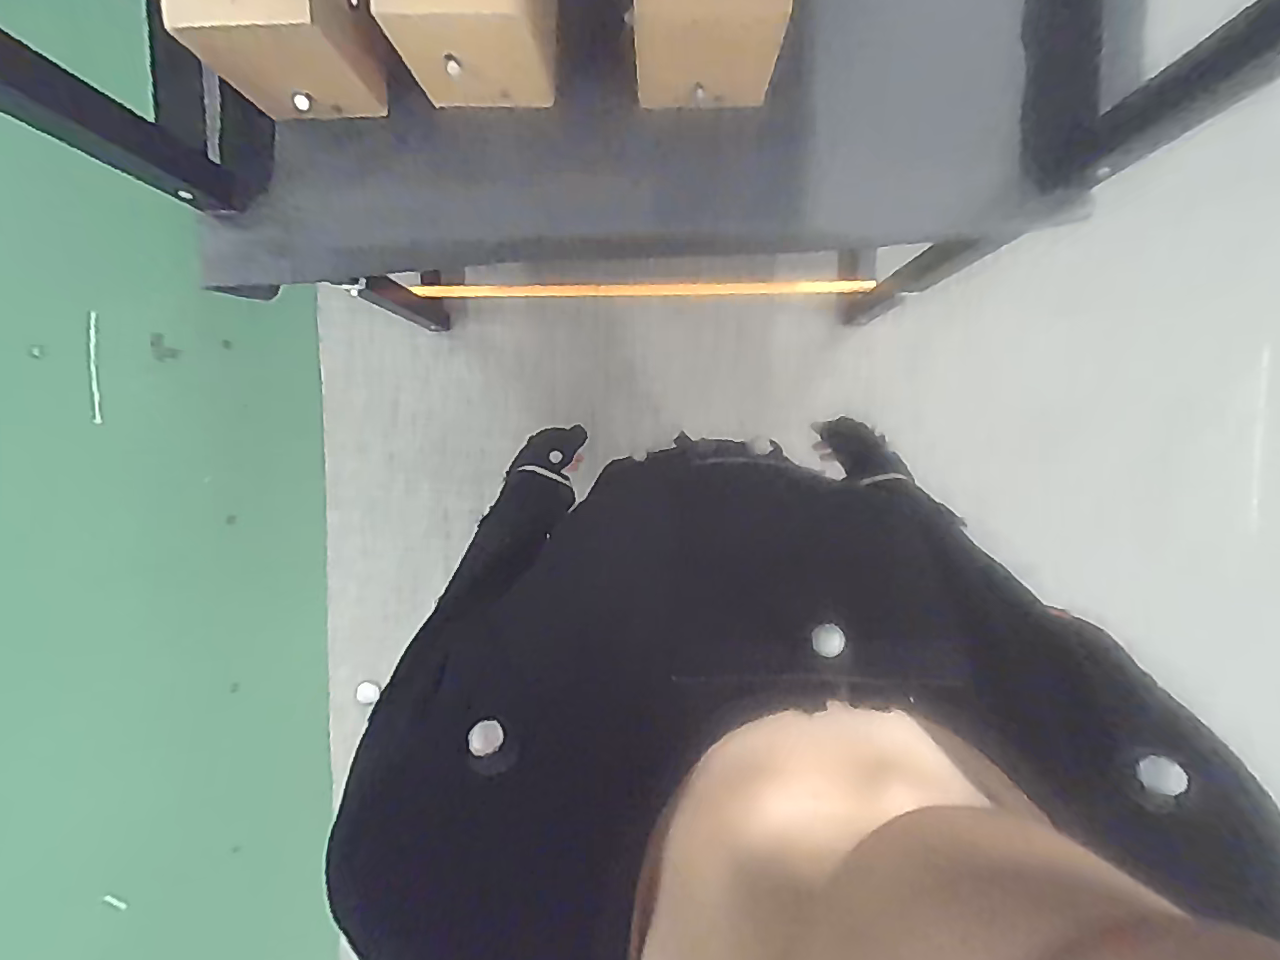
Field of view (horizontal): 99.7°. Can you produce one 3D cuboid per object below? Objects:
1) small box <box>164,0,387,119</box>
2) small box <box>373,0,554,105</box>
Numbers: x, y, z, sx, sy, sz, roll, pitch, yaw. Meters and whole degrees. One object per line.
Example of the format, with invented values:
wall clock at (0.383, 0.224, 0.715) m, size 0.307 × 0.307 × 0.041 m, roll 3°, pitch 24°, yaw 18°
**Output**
small box at (-0.427, -0.579, 0.657) m, size 0.168 × 0.176 × 0.179 m, roll 0°, pitch 94°, yaw 2°
small box at (-0.200, -0.587, 0.651) m, size 0.168 × 0.176 × 0.179 m, roll 1°, pitch 93°, yaw 2°
